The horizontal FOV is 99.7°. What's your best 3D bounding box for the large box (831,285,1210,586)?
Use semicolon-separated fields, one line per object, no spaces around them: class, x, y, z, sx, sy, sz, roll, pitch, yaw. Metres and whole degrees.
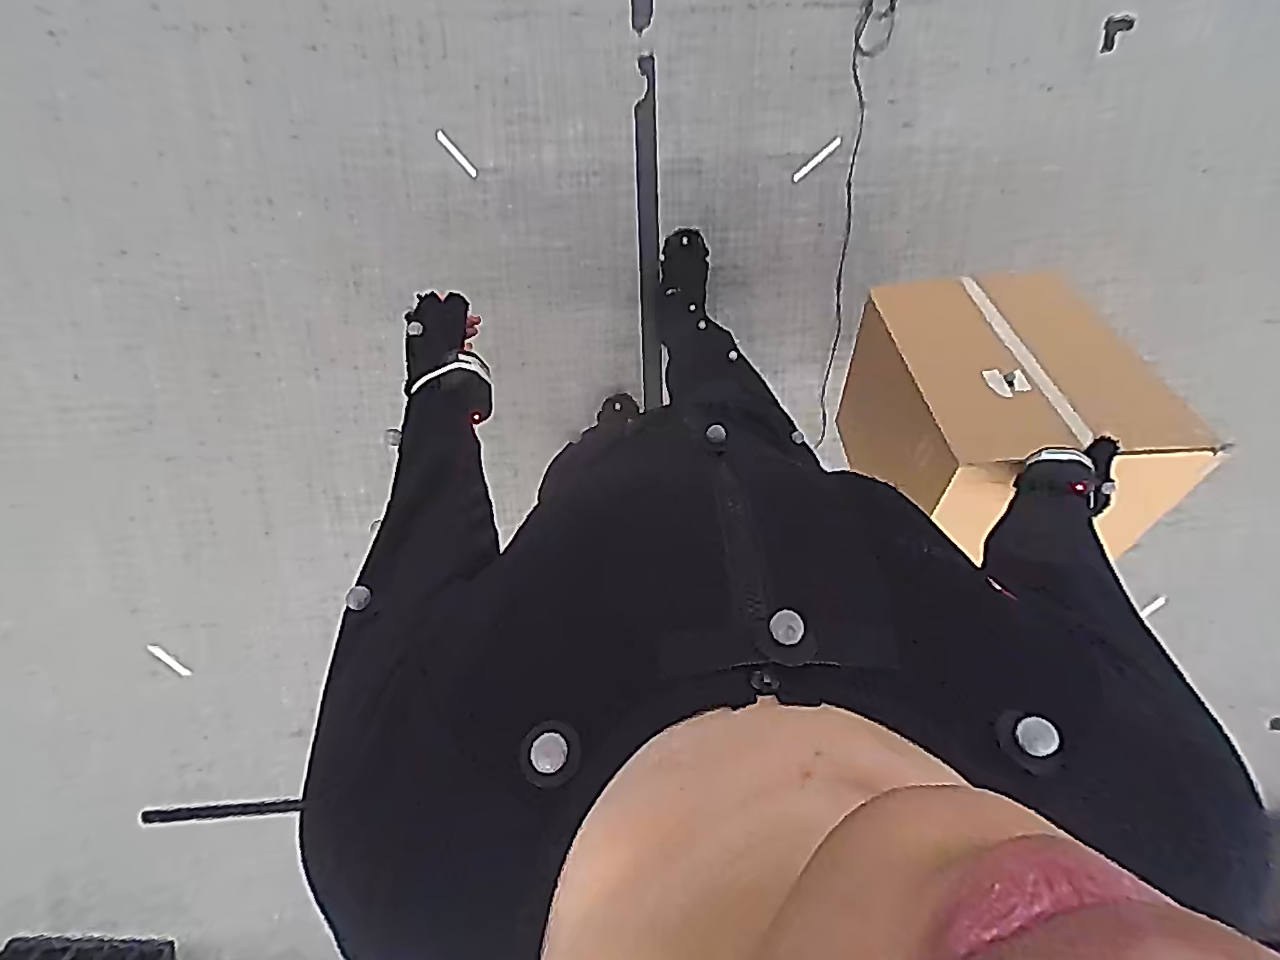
large box;0.553;-0.077;0.908;0.320;0.408;0.320;-4;140;3
